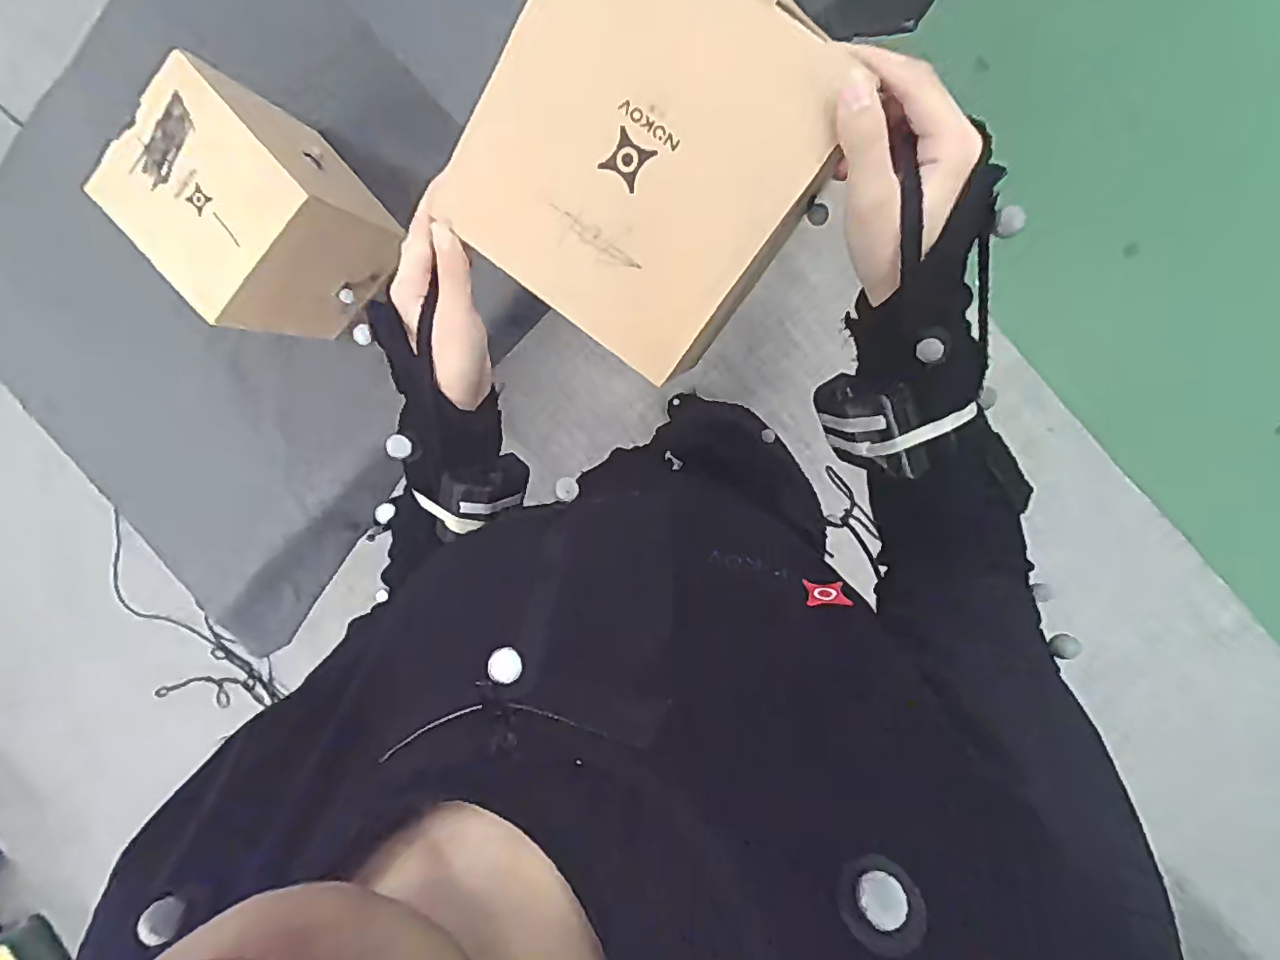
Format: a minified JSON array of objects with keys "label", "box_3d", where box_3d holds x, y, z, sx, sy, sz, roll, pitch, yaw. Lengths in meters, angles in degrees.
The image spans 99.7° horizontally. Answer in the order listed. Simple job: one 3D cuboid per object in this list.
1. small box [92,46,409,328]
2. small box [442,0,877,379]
[{"label":"small box","box_3d":[-0.394,-0.284,0.575,0.168,0.176,0.179,-41,91,14]},{"label":"small box","box_3d":[0.015,-0.191,0.352,0.168,0.176,0.179,37,111,1]}]
